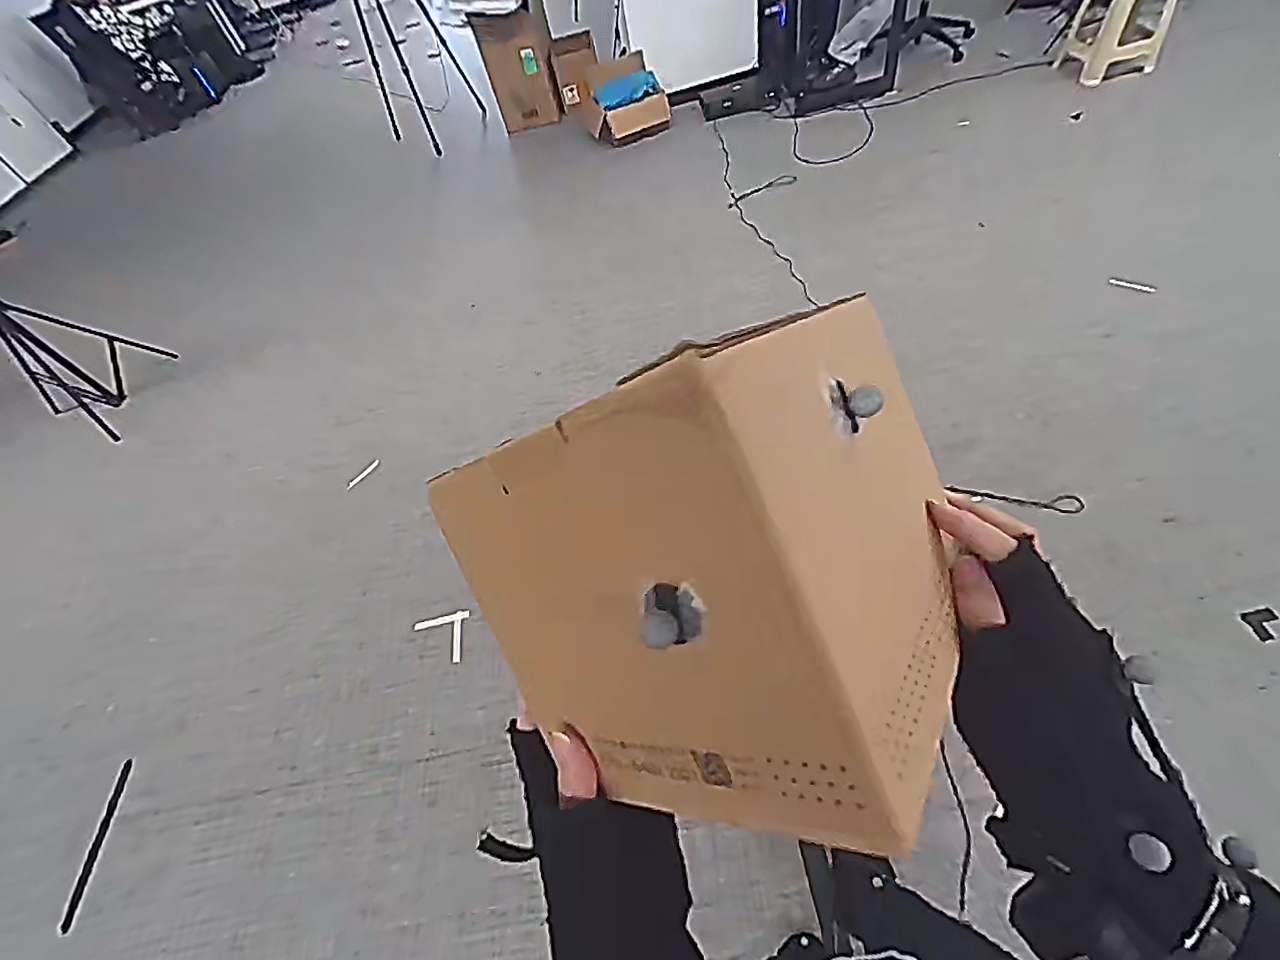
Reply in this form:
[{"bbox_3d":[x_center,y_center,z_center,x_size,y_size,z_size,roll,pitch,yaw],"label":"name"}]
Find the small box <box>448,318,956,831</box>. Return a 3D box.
[{"bbox_3d":[0.042,0.038,0.283,0.168,0.176,0.179,-18,8,41],"label":"small box"}]
